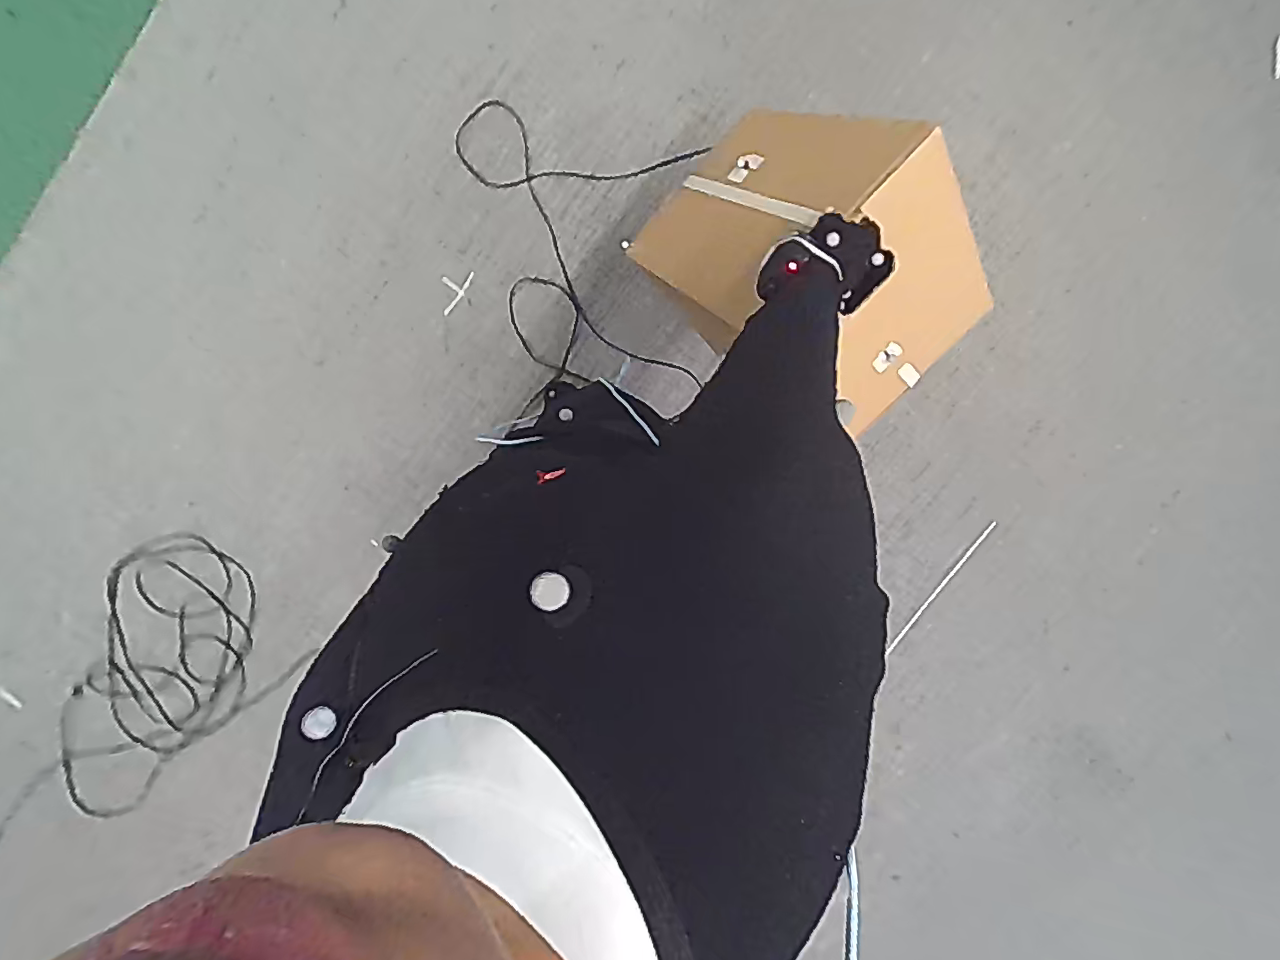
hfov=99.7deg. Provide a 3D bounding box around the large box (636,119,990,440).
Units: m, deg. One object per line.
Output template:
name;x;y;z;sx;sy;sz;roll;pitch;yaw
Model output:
large box;0.263;-0.334;0.891;0.320;0.408;0.320;-45;130;9
